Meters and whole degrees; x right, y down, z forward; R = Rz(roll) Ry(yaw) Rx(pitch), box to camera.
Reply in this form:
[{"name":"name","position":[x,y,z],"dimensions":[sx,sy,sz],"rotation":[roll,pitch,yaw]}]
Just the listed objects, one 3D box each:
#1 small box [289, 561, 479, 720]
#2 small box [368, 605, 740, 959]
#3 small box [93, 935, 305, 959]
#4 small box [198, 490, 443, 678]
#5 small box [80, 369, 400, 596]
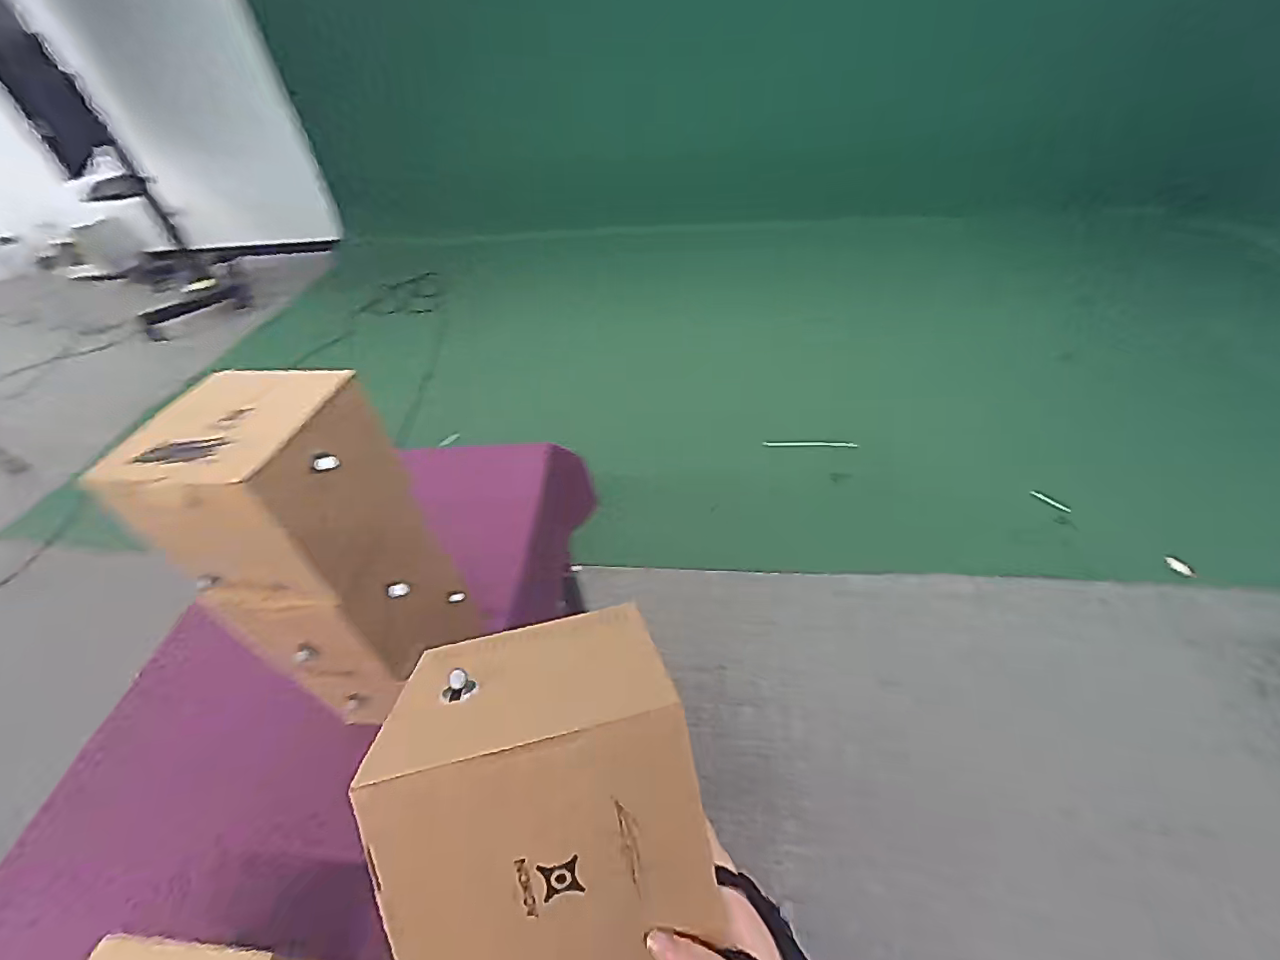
[{"name":"small box","position":[-0.354,0.239,0.793],"dimensions":[0.168,0.176,0.179],"rotation":[-2,44,6]},{"name":"small box","position":[-0.049,0.202,0.368],"dimensions":[0.179,0.168,0.176],"rotation":[-11,9,-6]},{"name":"small box","position":[-0.410,0.538,0.493],"dimensions":[0.179,0.176,0.168],"rotation":[-1,44,8]},{"name":"small box","position":[-0.371,0.127,0.674],"dimensions":[0.168,0.176,0.179],"rotation":[1,45,9]},{"name":"small box","position":[-0.385,0.003,0.566],"dimensions":[0.168,0.176,0.179],"rotation":[1,43,9]}]
